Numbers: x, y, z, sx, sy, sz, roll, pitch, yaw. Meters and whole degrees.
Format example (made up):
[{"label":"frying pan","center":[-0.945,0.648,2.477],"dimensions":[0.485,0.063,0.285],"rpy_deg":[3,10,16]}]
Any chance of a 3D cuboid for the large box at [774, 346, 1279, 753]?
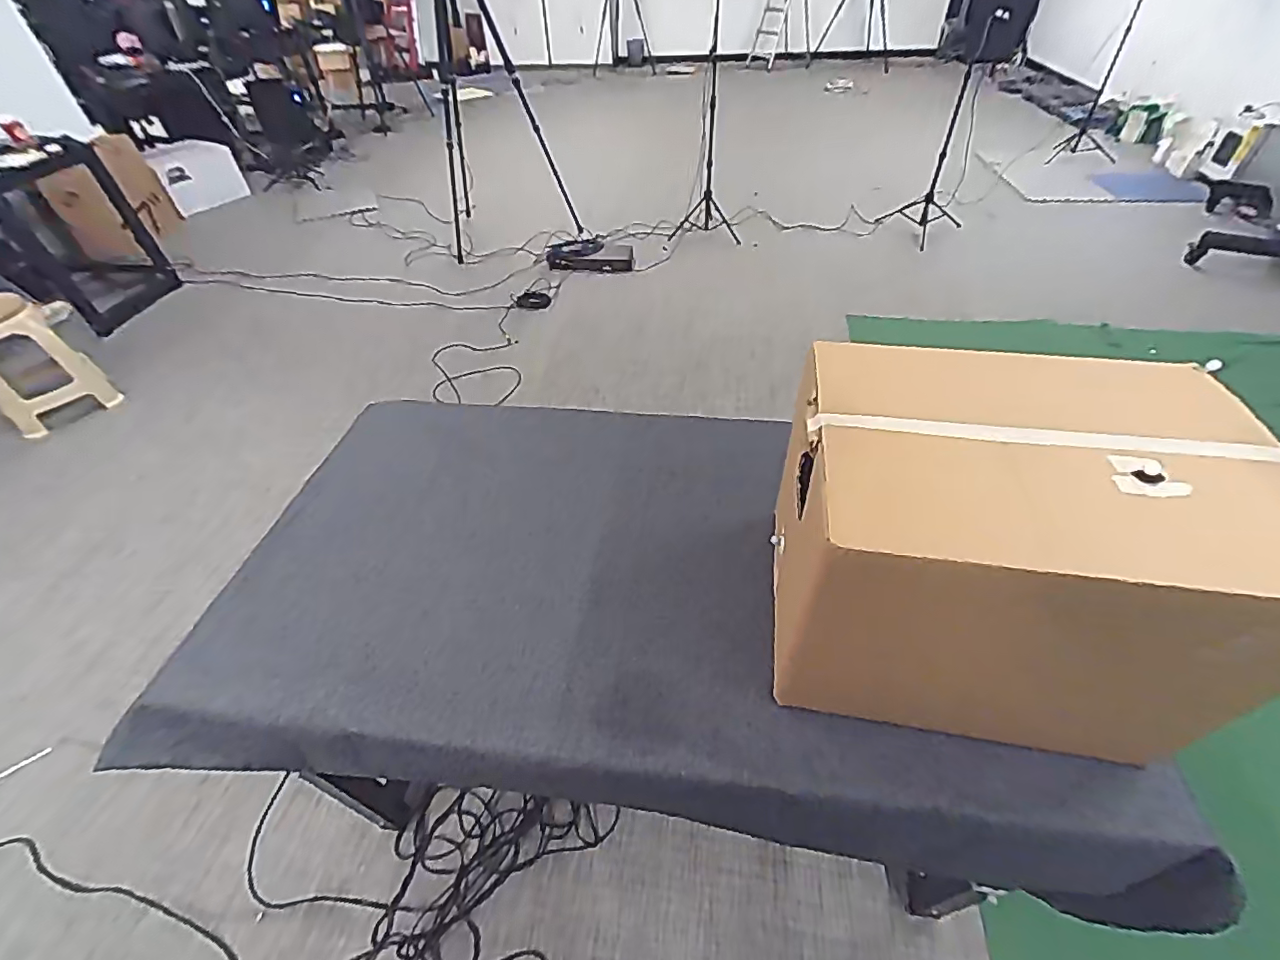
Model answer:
[{"label":"large box","center":[0.380,0.072,0.616],"dimensions":[0.408,0.320,0.320],"rpy_deg":[7,46,8]}]
